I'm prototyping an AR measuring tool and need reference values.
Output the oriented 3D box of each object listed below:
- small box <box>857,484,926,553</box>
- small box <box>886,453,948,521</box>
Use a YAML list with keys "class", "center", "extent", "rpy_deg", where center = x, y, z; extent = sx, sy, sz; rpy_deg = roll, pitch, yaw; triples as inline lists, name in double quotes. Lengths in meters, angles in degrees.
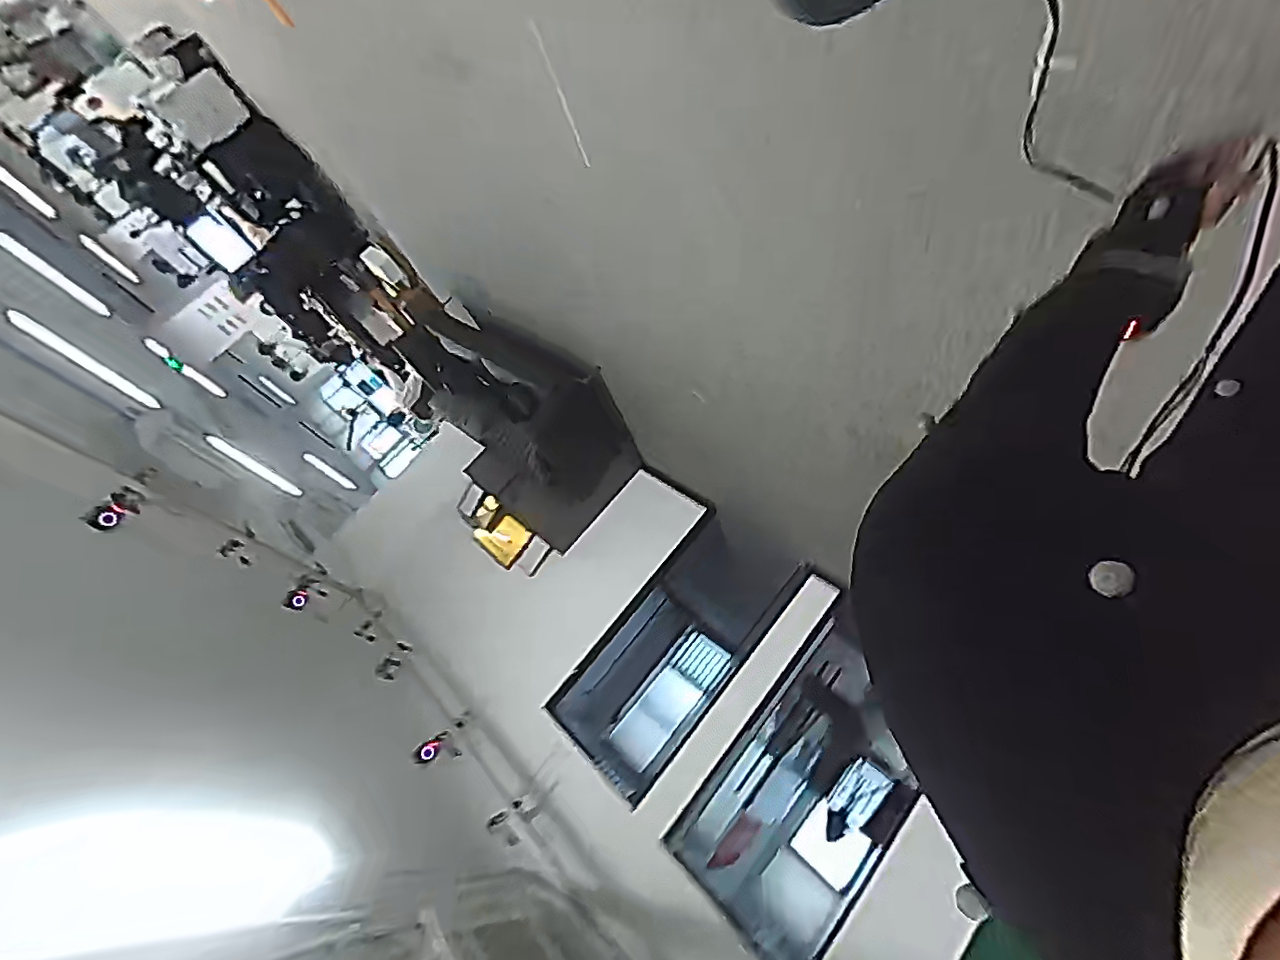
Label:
- class: "small box"
  center: [0.966, 0.147, 2.078]
  extent: [0.168, 0.176, 0.179]
  rpy_deg: [34, 164, 27]
- class: "small box"
  center: [1.071, 0.023, 2.111]
  extent: [0.168, 0.176, 0.179]
  rpy_deg: [34, 163, 31]
